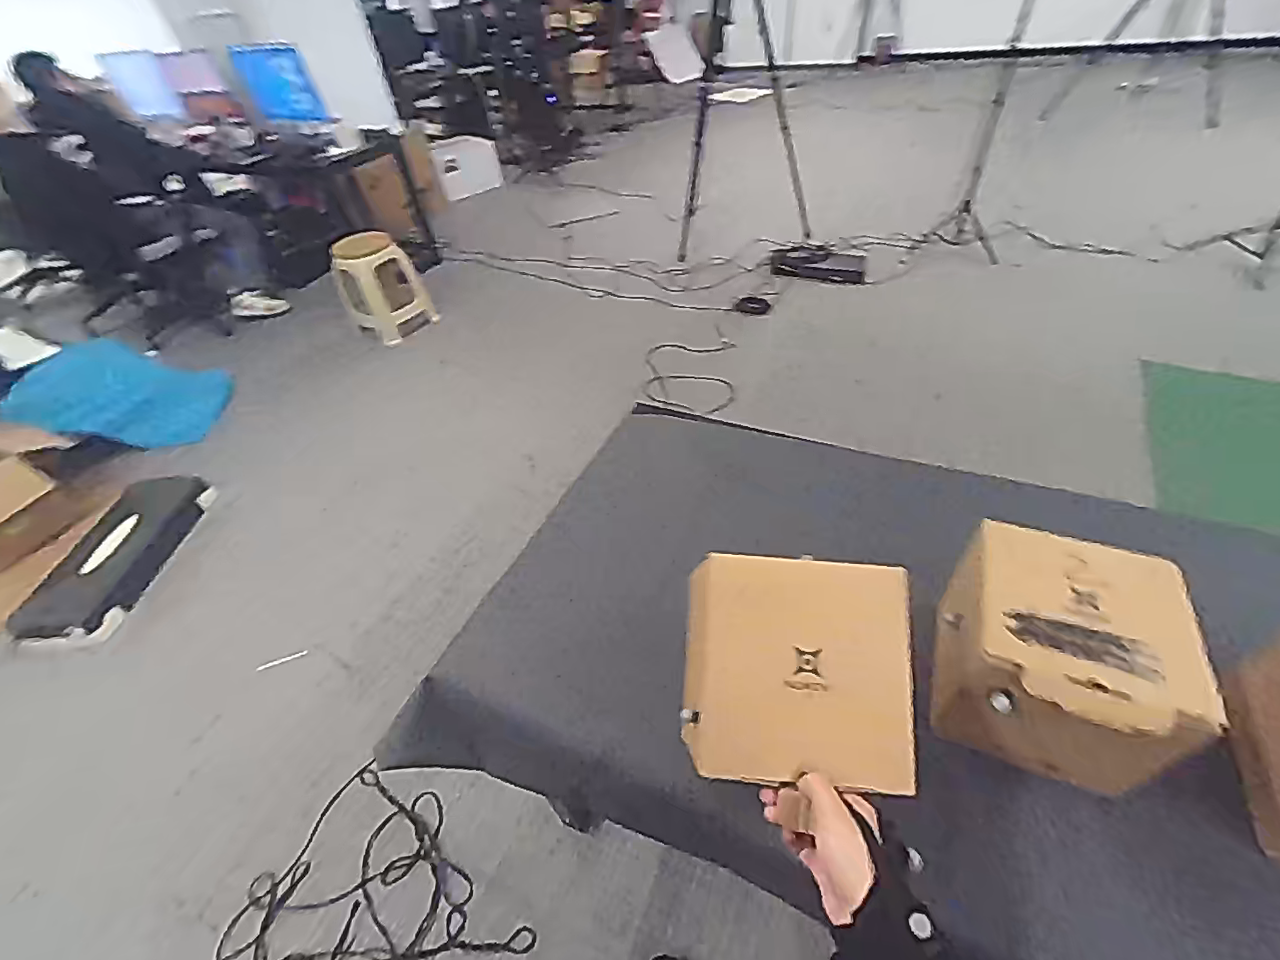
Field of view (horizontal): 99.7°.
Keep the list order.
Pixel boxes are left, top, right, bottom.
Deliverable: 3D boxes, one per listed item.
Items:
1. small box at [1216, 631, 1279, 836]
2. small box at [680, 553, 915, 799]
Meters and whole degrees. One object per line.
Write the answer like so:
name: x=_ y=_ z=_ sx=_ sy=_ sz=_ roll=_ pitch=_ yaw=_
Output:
small box: x=0.656 y=0.234 z=0.453 sx=0.168 sy=0.176 sz=0.179 roll=15 pitch=47 yaw=20
small box: x=0.128 y=0.170 z=0.502 sx=0.168 sy=0.176 sz=0.179 roll=4 pitch=76 yaw=0
